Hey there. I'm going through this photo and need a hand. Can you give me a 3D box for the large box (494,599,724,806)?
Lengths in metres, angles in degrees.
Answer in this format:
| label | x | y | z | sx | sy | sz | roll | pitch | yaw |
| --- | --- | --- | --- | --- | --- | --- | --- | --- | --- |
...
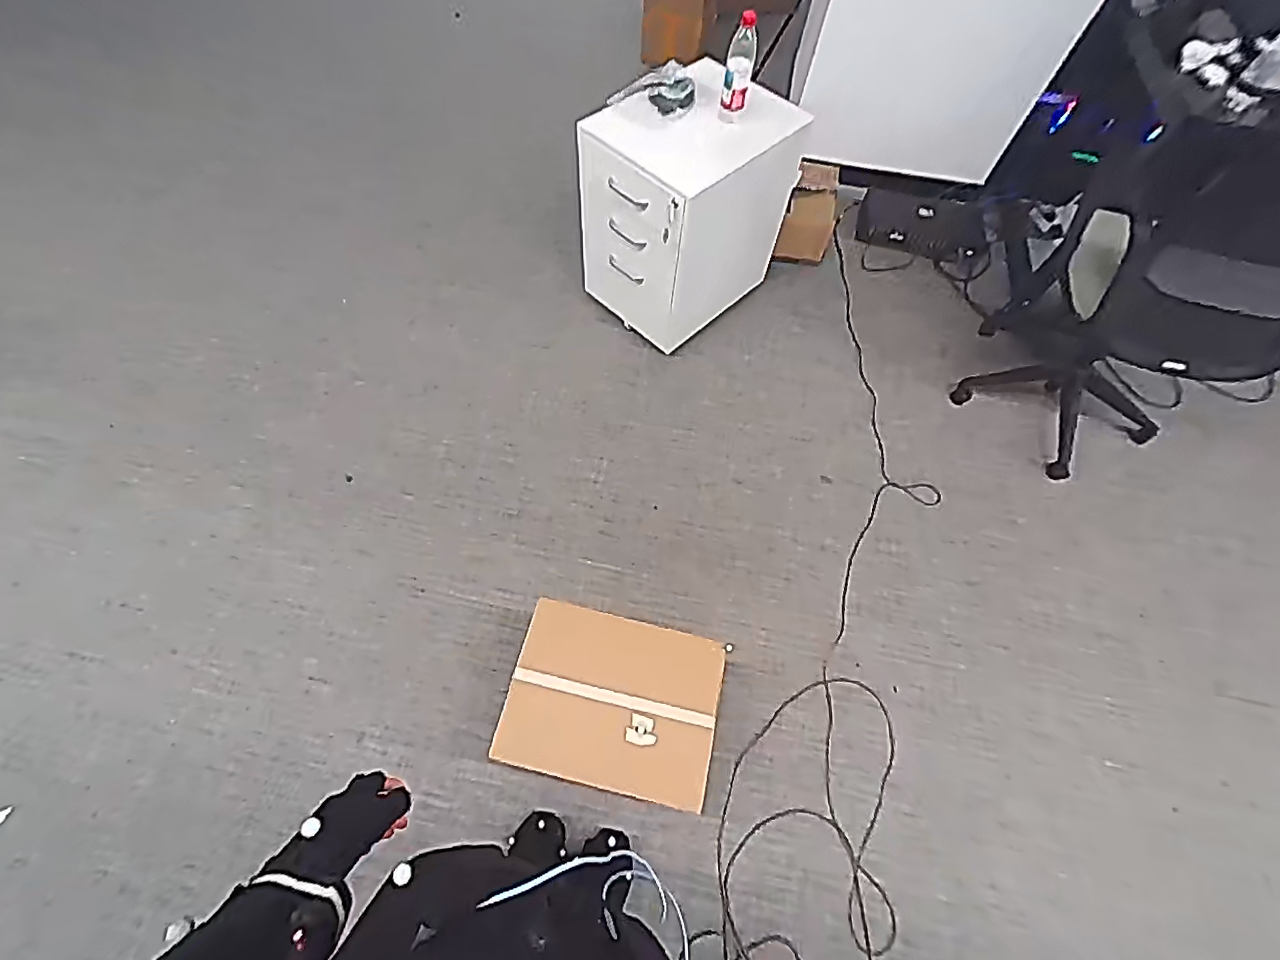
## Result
| label | x | y | z | sx | sy | sz | roll | pitch | yaw |
| --- | --- | --- | --- | --- | --- | --- | --- | --- | --- |
| large box | -0.061 | 0.490 | 1.195 | 0.408 | 0.320 | 0.320 | 14 | 63 | 3 |
